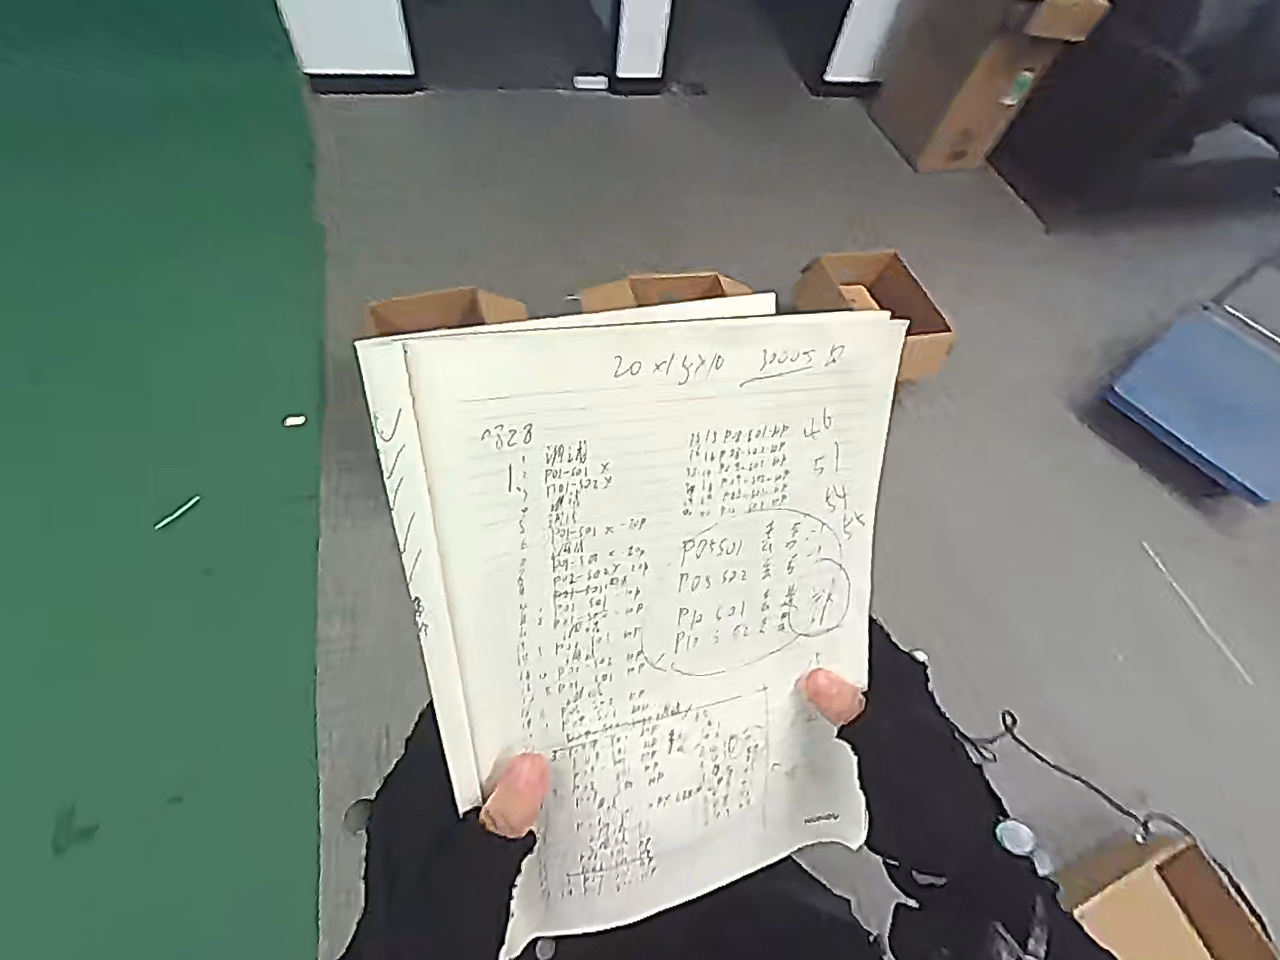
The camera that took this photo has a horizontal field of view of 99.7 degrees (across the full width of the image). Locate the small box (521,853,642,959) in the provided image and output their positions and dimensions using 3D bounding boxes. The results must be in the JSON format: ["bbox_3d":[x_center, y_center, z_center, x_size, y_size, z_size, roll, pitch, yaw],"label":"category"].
[{"bbox_3d":[-0.115,0.873,1.071,0.179,0.176,0.168,8,68,20],"label":"small box"}]
